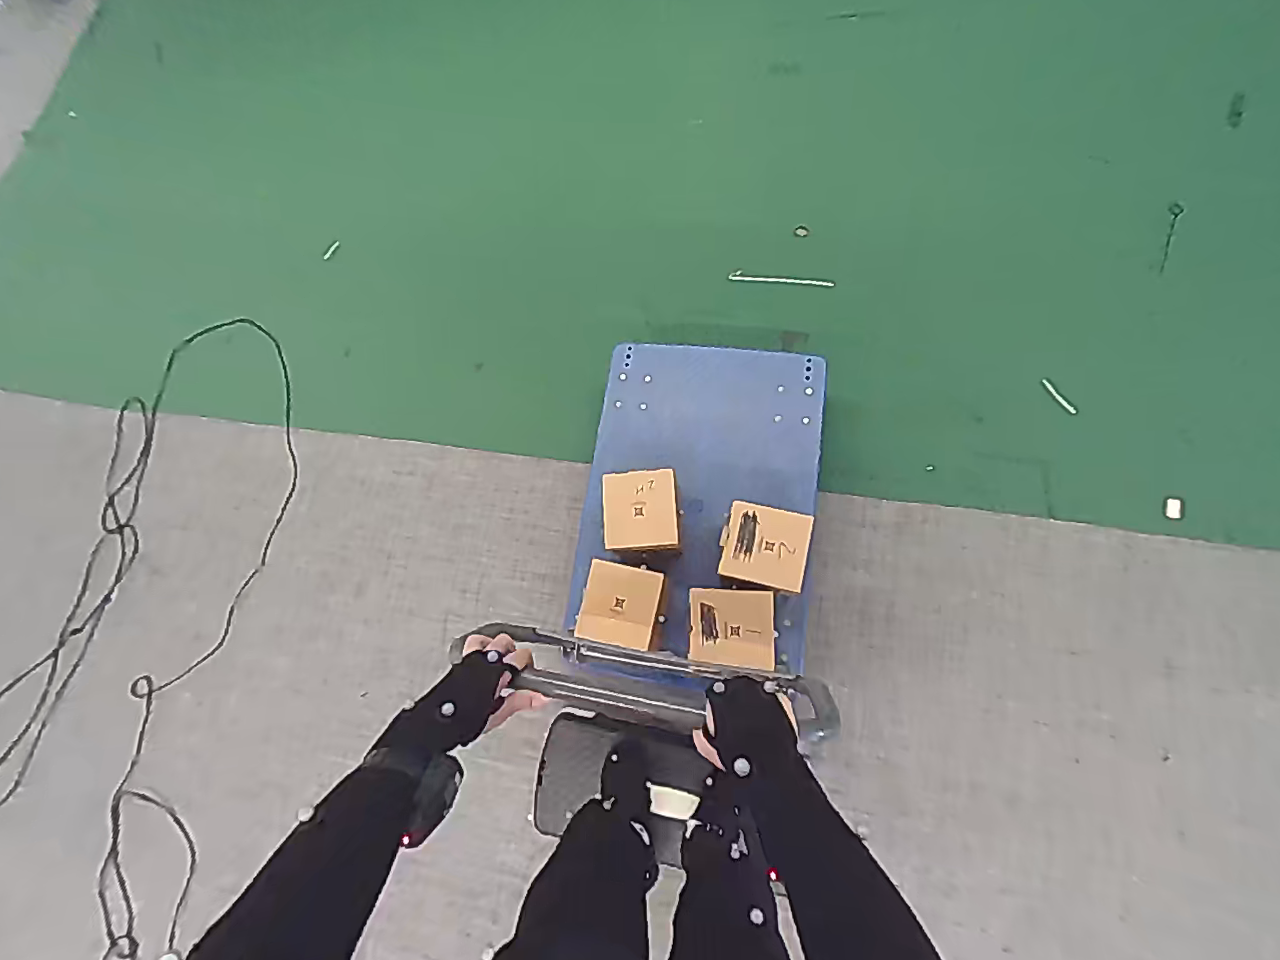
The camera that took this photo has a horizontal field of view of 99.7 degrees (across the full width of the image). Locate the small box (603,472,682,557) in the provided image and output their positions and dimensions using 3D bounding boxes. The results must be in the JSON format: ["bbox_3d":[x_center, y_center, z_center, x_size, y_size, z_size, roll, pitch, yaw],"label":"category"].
[{"bbox_3d":[0.010,0.089,1.282,0.168,0.176,0.179,-4,75,7],"label":"small box"}]

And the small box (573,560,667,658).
[{"bbox_3d":[-0.036,0.294,1.237,0.168,0.176,0.179,11,78,11],"label":"small box"}]
